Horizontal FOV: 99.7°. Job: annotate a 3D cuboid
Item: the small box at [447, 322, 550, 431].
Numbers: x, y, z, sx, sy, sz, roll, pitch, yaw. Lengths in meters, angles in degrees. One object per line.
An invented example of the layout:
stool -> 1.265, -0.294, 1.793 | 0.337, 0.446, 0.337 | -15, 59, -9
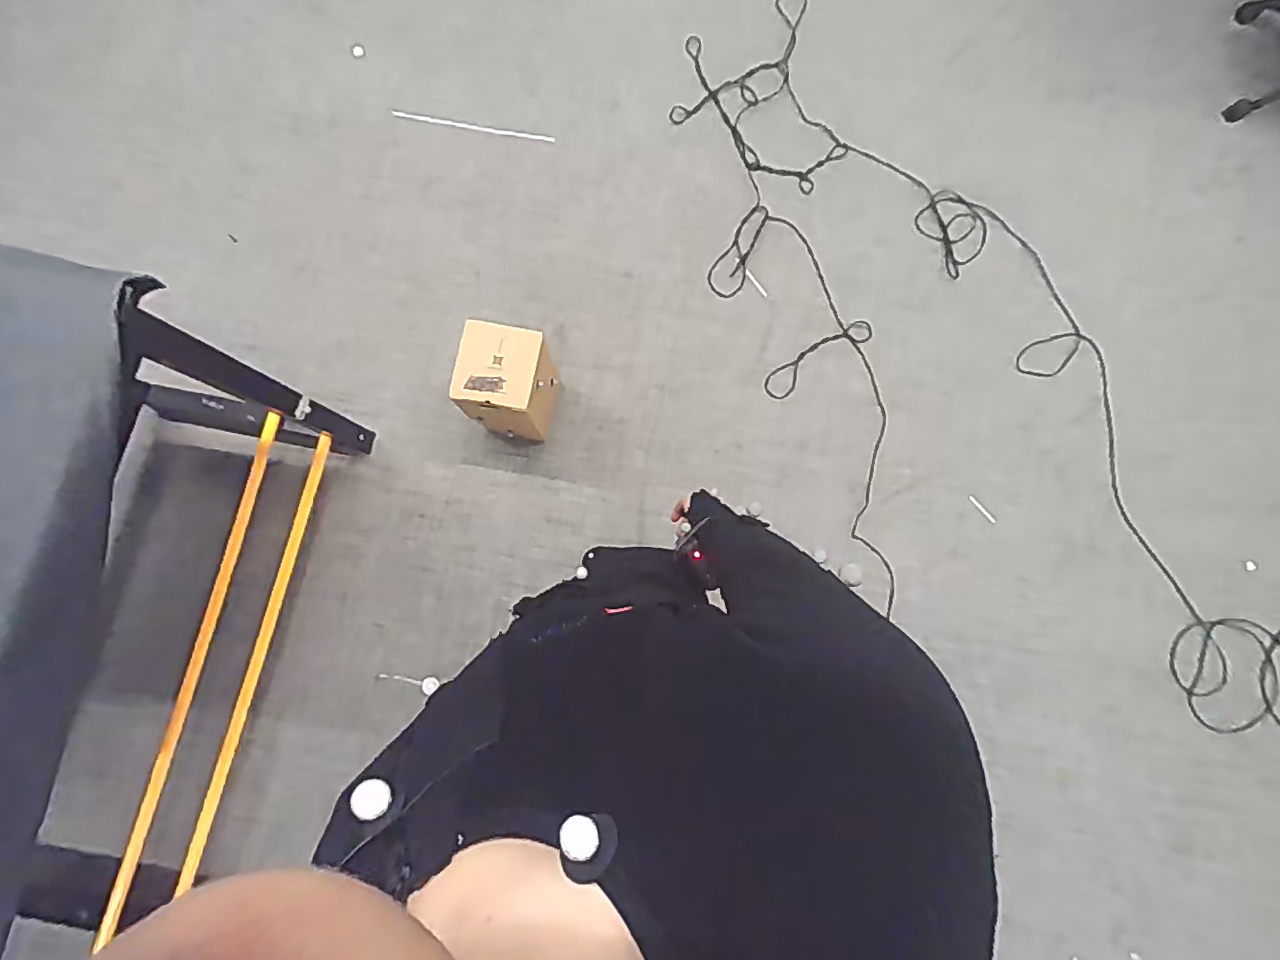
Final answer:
small box -> -0.300, -0.218, 1.184 | 0.168, 0.176, 0.179 | 10, 79, -1

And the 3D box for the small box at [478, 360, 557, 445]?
small box -> -0.308, -0.203, 1.347 | 0.168, 0.176, 0.179 | 12, 79, 0
